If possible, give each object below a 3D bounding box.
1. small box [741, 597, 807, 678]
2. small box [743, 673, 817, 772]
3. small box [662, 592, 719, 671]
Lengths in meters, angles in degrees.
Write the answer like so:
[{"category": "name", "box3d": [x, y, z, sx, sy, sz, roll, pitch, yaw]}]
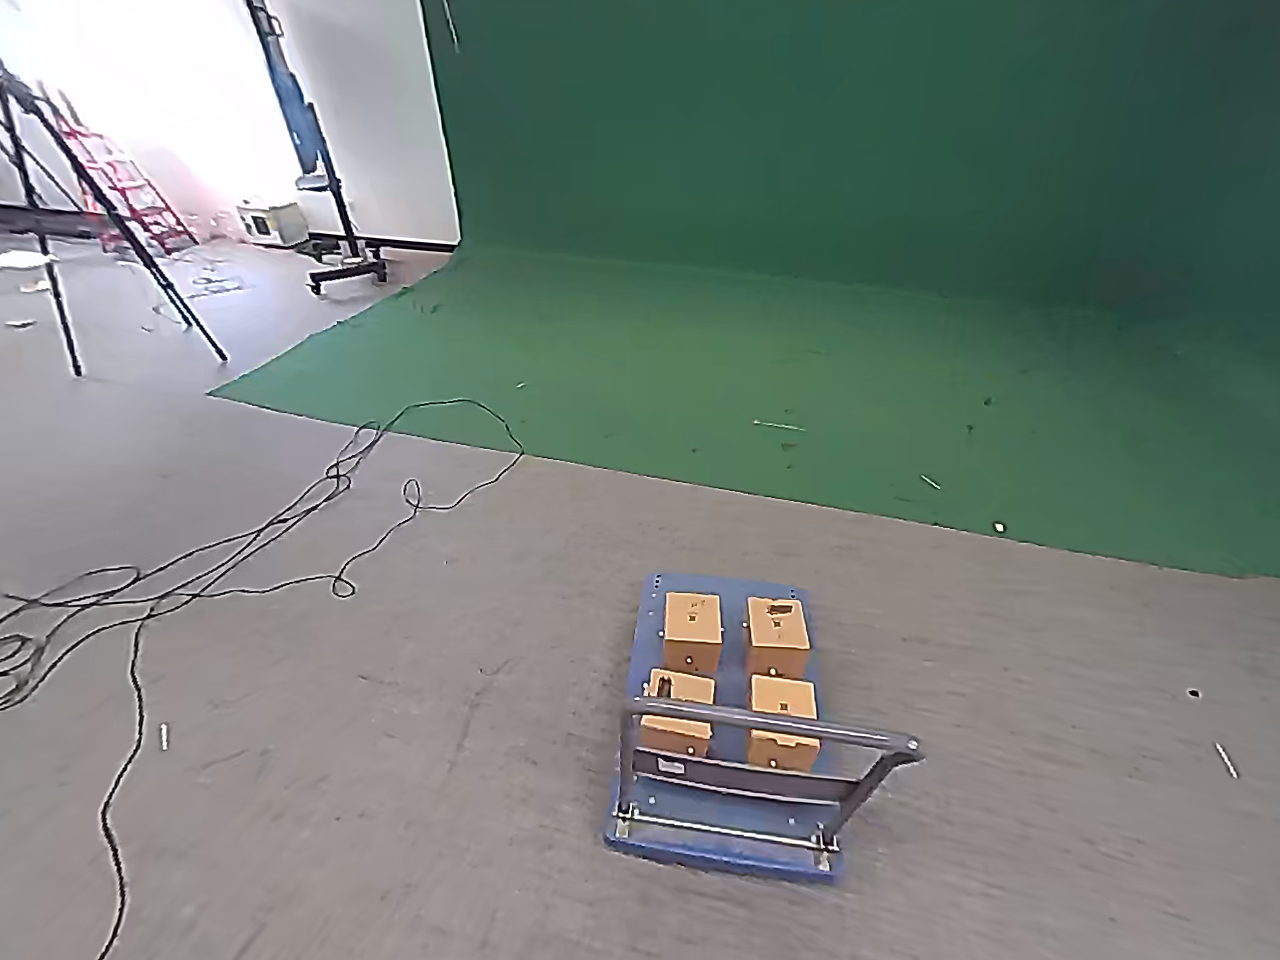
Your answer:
[{"category": "small box", "box3d": [0.408, 0.487, 1.675, 0.168, 0.176, 0.179, 2, 40, 3]}, {"category": "small box", "box3d": [0.373, 0.657, 1.467, 0.168, 0.176, 0.179, 6, 40, 6]}, {"category": "small box", "box3d": [0.156, 0.475, 1.685, 0.168, 0.176, 0.179, 4, 39, 2]}]
